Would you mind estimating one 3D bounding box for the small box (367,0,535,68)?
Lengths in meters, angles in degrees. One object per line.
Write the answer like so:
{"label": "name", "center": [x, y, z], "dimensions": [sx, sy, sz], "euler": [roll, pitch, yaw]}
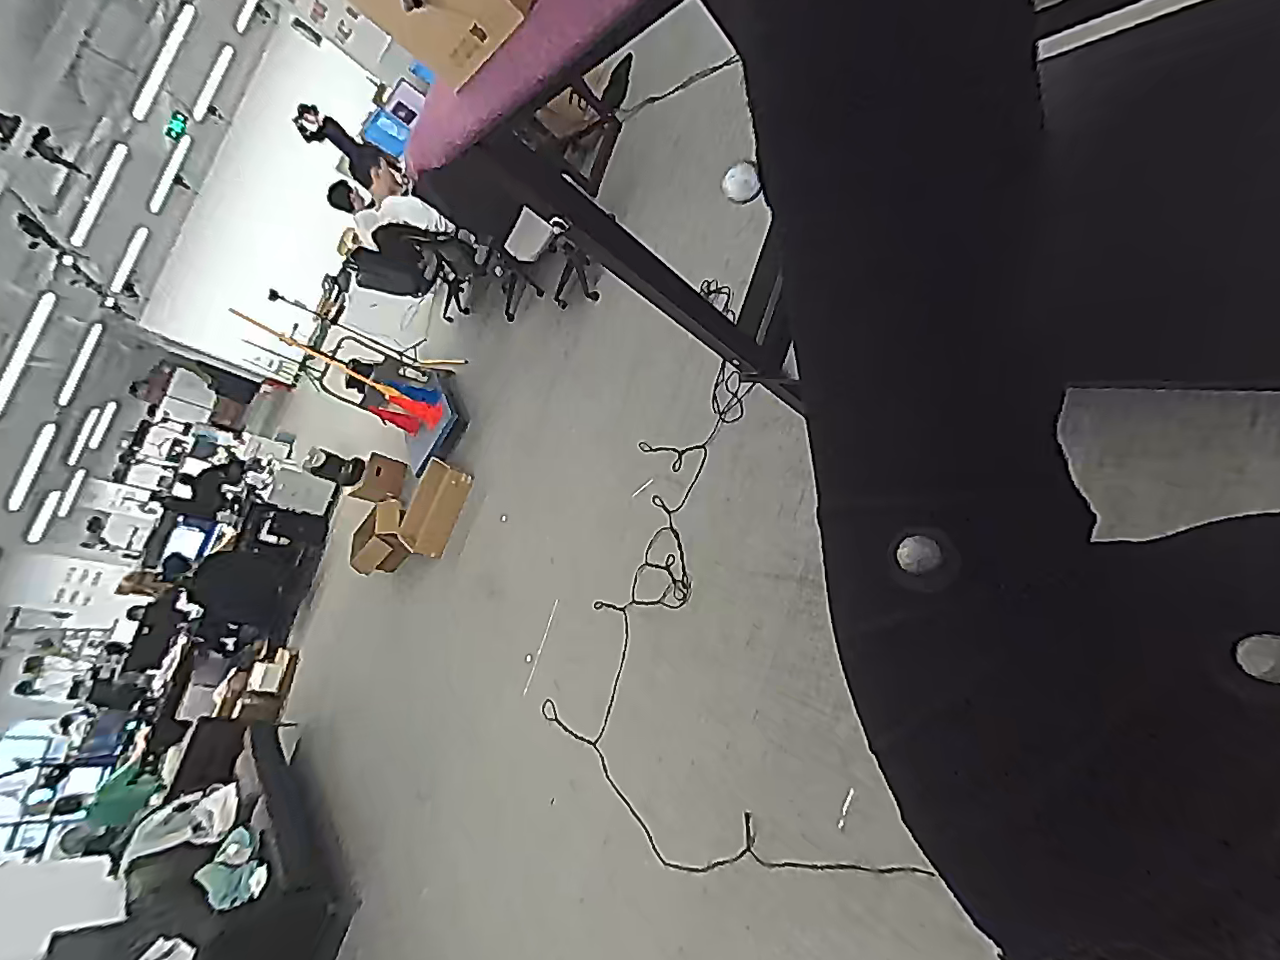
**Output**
{"label": "small box", "center": [-0.180, -0.543, 0.512], "dimensions": [0.168, 0.176, 0.179], "euler": [10, 79, 48]}
